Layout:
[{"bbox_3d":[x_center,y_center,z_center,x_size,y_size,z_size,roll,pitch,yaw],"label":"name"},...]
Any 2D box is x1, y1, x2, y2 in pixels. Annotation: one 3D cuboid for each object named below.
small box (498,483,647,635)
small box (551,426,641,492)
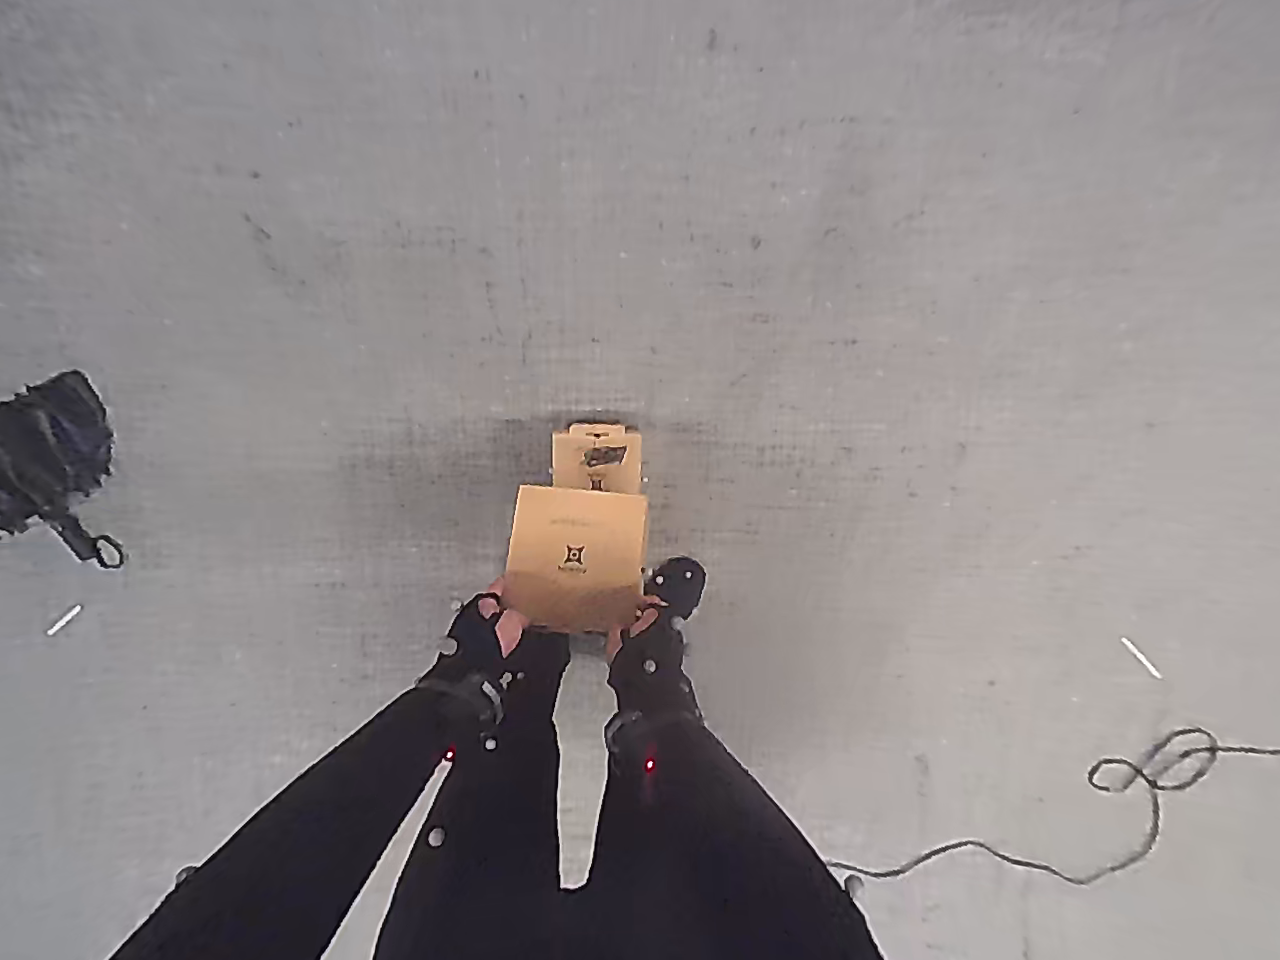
[{"bbox_3d":[-0.079,0.113,0.732,0.168,0.176,0.179,3,75,2],"label":"small box"},{"bbox_3d":[-0.084,-0.017,1.067,0.168,0.176,0.179,0,99,-1],"label":"small box"}]
